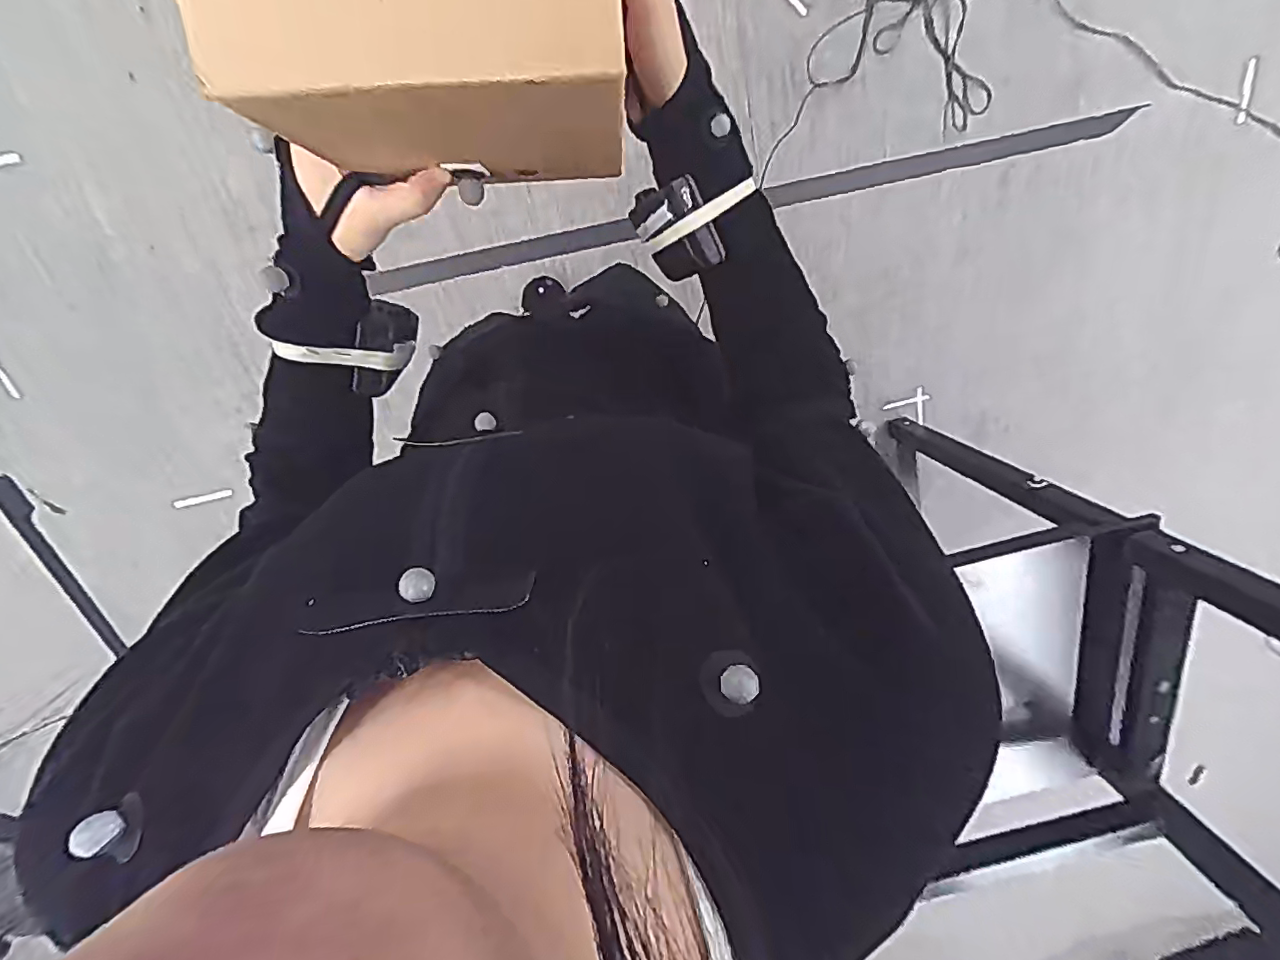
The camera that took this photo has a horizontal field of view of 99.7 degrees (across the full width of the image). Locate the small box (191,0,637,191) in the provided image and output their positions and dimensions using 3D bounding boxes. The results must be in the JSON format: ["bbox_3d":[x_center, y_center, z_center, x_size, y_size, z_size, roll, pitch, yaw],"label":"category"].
[{"bbox_3d":[-0.092,-0.260,0.264,0.168,0.176,0.179,-5,107,-1],"label":"small box"}]
